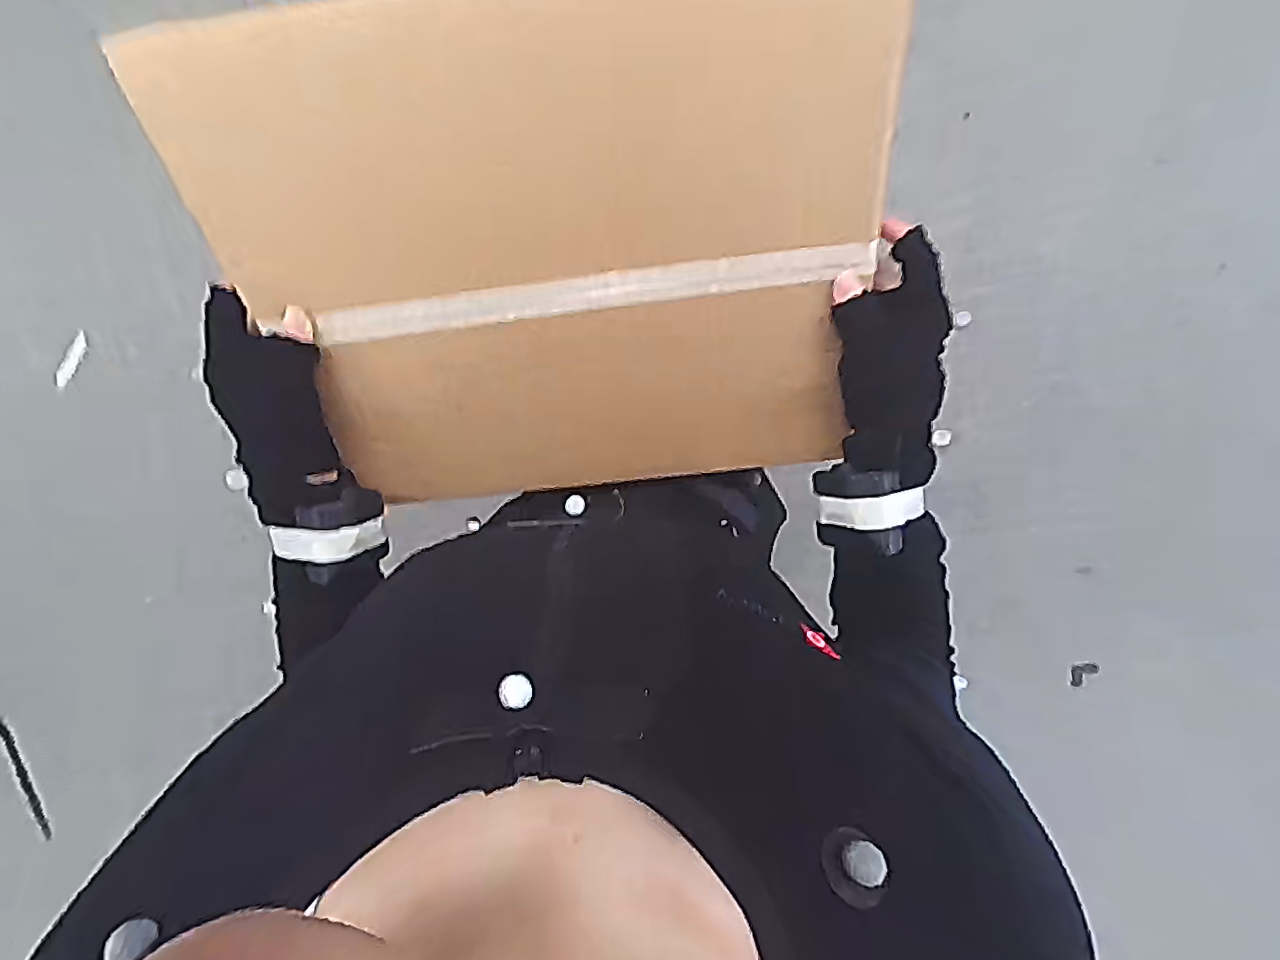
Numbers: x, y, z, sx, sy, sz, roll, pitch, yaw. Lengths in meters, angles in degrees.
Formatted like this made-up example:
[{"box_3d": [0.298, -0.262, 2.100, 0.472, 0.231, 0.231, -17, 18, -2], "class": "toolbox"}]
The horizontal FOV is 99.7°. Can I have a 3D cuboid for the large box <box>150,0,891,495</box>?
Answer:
[{"box_3d": [-0.055, -0.218, 0.483, 0.408, 0.320, 0.320, -6, 128, 4], "class": "large box"}]
